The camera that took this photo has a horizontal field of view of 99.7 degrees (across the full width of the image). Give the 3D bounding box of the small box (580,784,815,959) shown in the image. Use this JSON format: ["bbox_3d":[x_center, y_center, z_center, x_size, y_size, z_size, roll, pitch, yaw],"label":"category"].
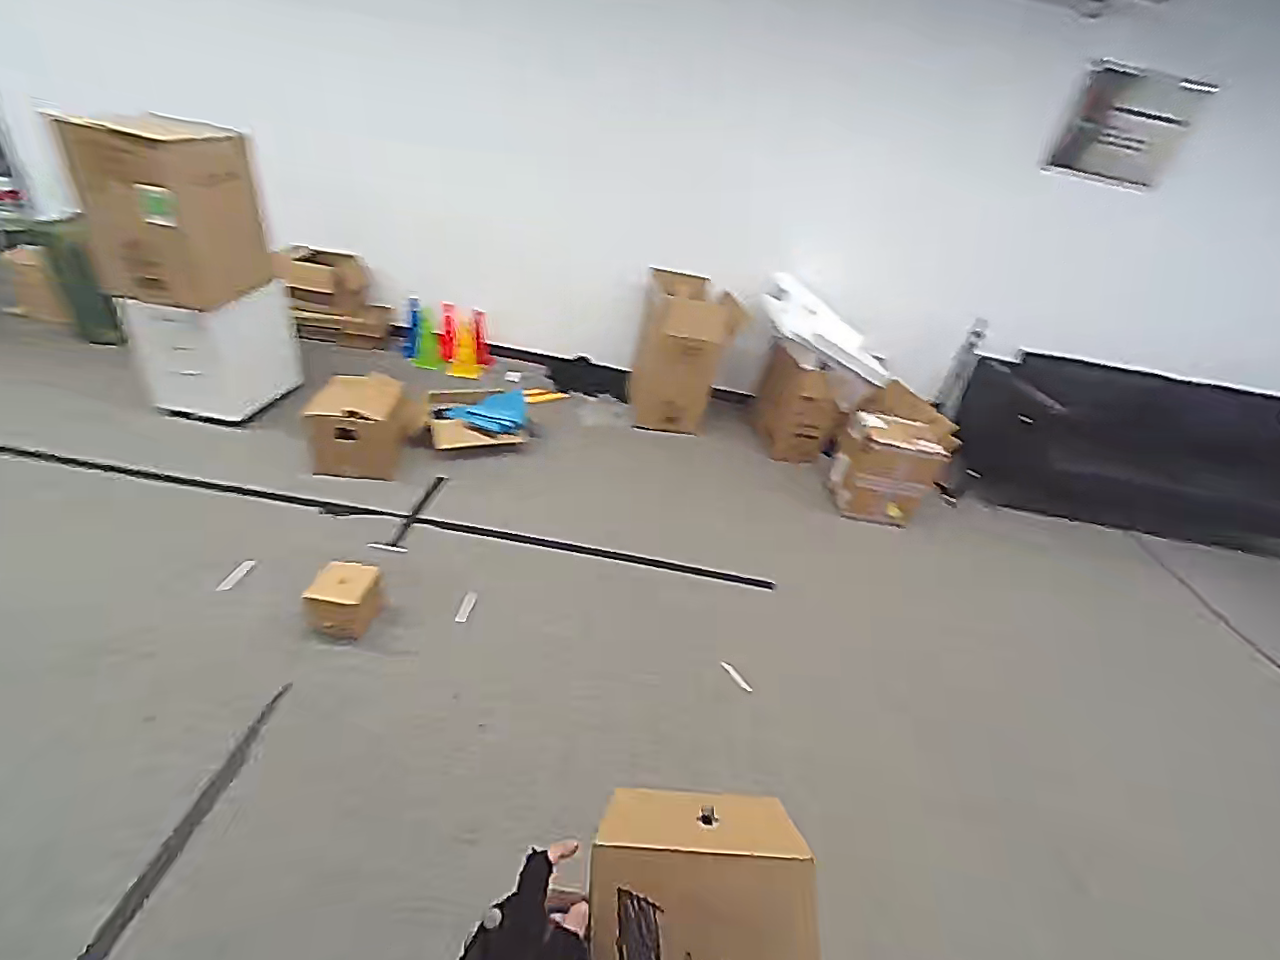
[{"bbox_3d":[0.046,0.379,0.474,0.179,0.176,0.168,1,73,3],"label":"small box"}]

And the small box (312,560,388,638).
[{"bbox_3d":[-0.967,0.402,1.821,0.168,0.176,0.179,10,33,-2],"label":"small box"}]
